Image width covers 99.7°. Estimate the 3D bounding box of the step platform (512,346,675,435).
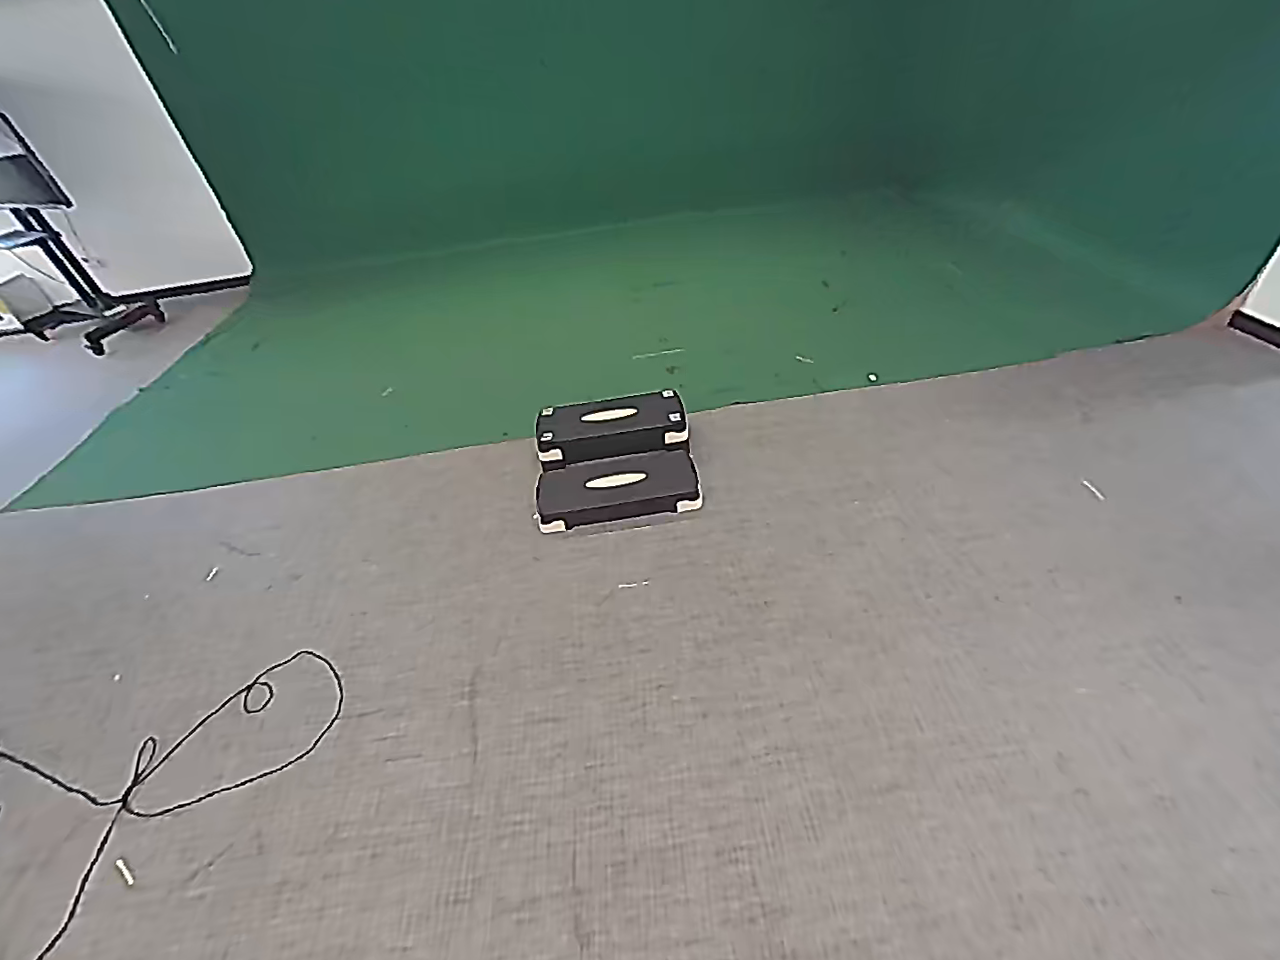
[{"bbox_3d":[-0.193,-0.391,2.343,0.684,0.204,0.286,-9,41,0],"label":"step platform"}]
